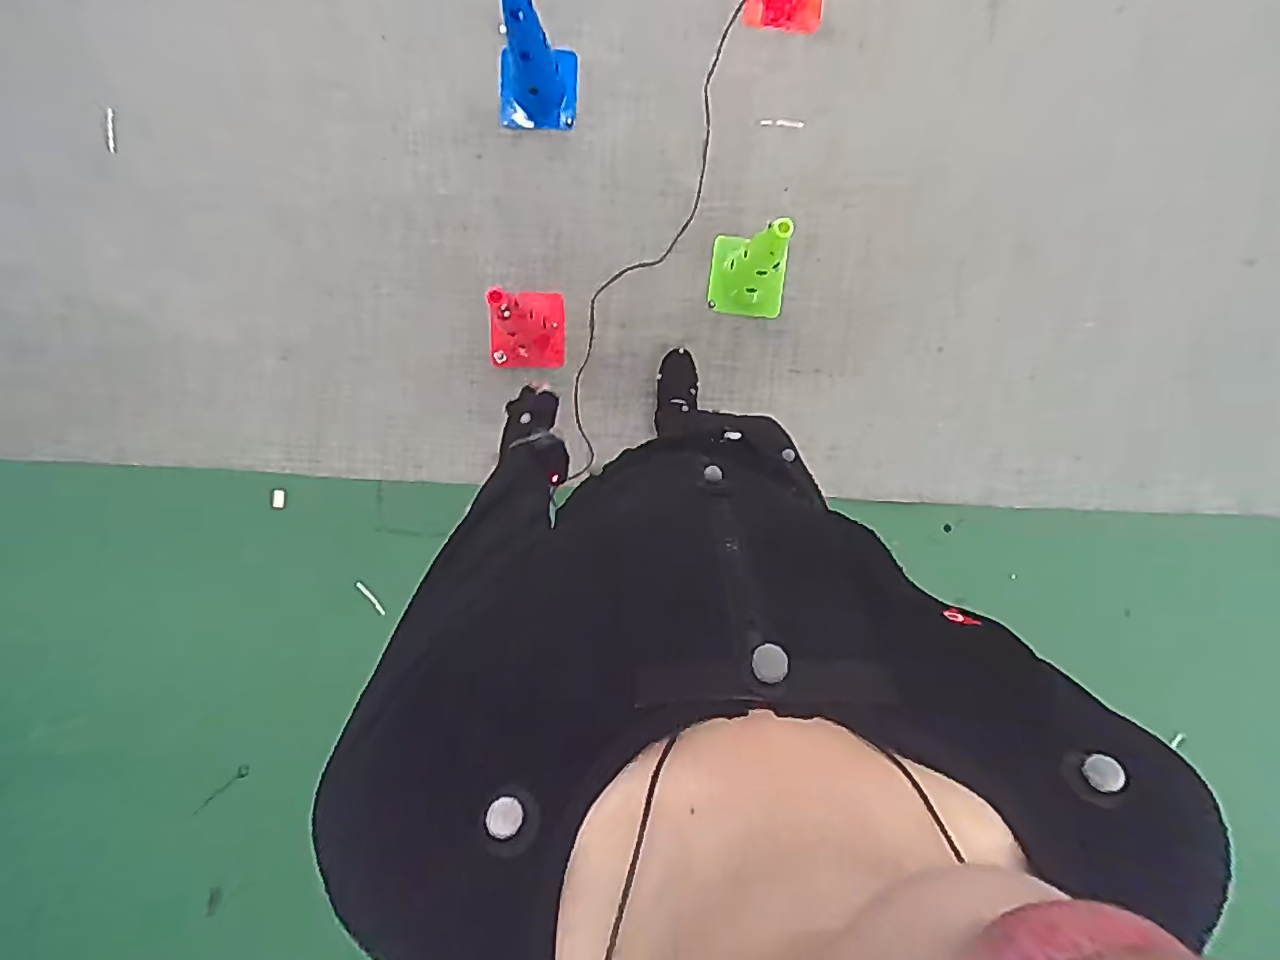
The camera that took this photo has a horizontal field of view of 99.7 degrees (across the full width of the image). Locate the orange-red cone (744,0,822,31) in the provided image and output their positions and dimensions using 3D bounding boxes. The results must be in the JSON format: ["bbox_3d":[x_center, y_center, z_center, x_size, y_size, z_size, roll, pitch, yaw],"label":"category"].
[{"bbox_3d":[0.376,-1.257,1.228,0.198,0.360,0.199,8,96,0],"label":"orange-red cone"}]

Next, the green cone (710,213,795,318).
[{"bbox_3d":[0.297,-0.532,1.282,0.200,0.368,0.202,5,93,-2],"label":"green cone"}]
